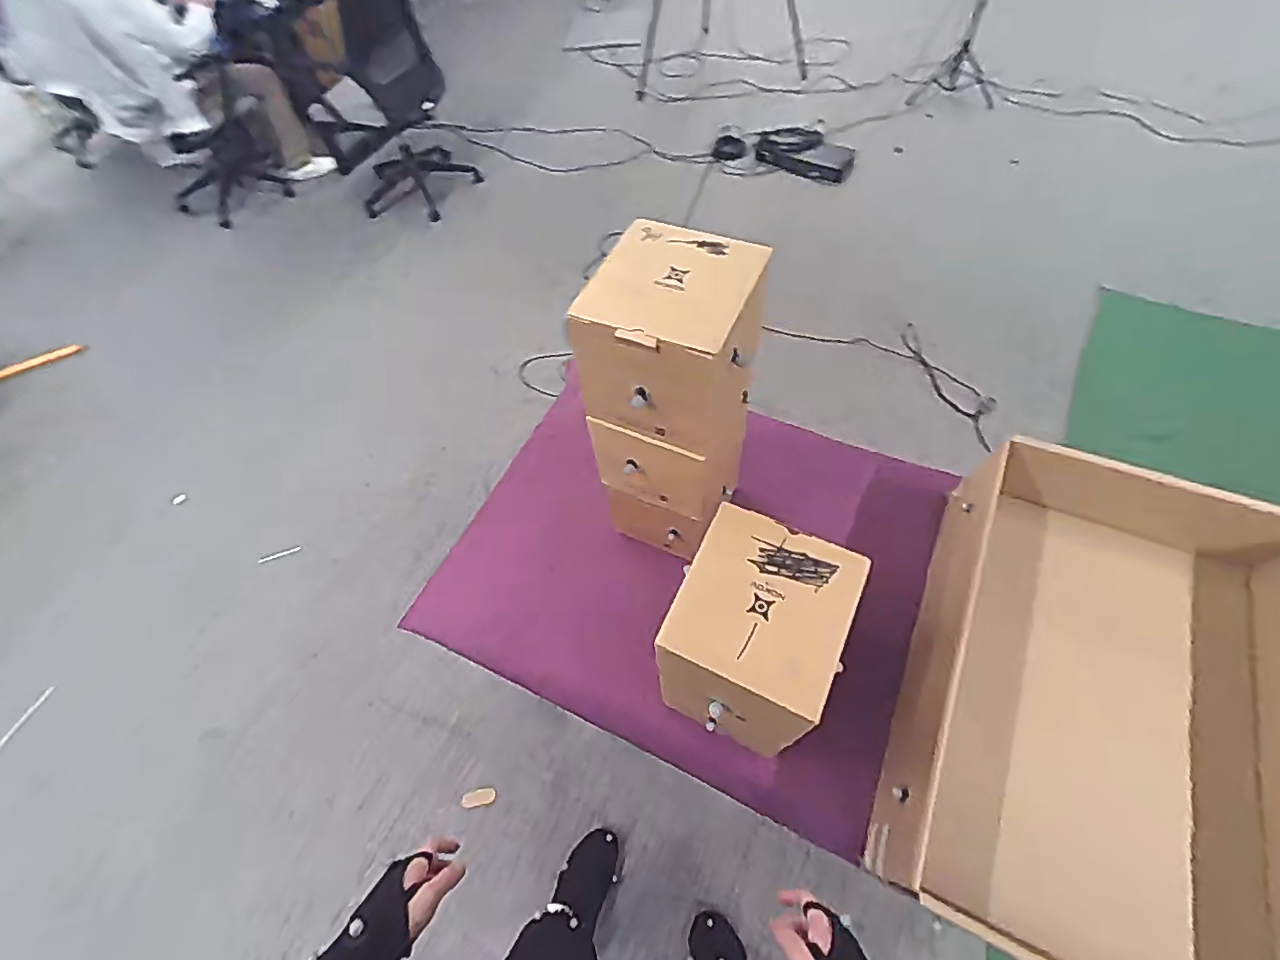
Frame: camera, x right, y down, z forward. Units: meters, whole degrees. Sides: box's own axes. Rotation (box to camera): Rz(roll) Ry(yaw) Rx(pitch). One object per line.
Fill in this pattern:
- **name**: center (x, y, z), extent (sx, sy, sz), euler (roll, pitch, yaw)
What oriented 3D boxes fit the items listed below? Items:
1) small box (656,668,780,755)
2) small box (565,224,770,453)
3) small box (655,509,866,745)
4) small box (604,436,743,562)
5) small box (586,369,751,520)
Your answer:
- **small box**: center (0.137, 0.255, 0.748), extent (0.168, 0.176, 0.179), euler (23, 62, 17)
- **small box**: center (0.038, -0.160, 0.634), extent (0.168, 0.176, 0.179), euler (21, 63, 16)
- **small box**: center (0.128, 0.169, 0.609), extent (0.168, 0.176, 0.179), euler (22, 62, 18)
- **small box**: center (0.060, 0.012, 0.910), extent (0.168, 0.176, 0.179), euler (22, 62, 16)
- **small box**: center (0.046, -0.070, 0.771), extent (0.168, 0.176, 0.179), euler (21, 62, 16)
